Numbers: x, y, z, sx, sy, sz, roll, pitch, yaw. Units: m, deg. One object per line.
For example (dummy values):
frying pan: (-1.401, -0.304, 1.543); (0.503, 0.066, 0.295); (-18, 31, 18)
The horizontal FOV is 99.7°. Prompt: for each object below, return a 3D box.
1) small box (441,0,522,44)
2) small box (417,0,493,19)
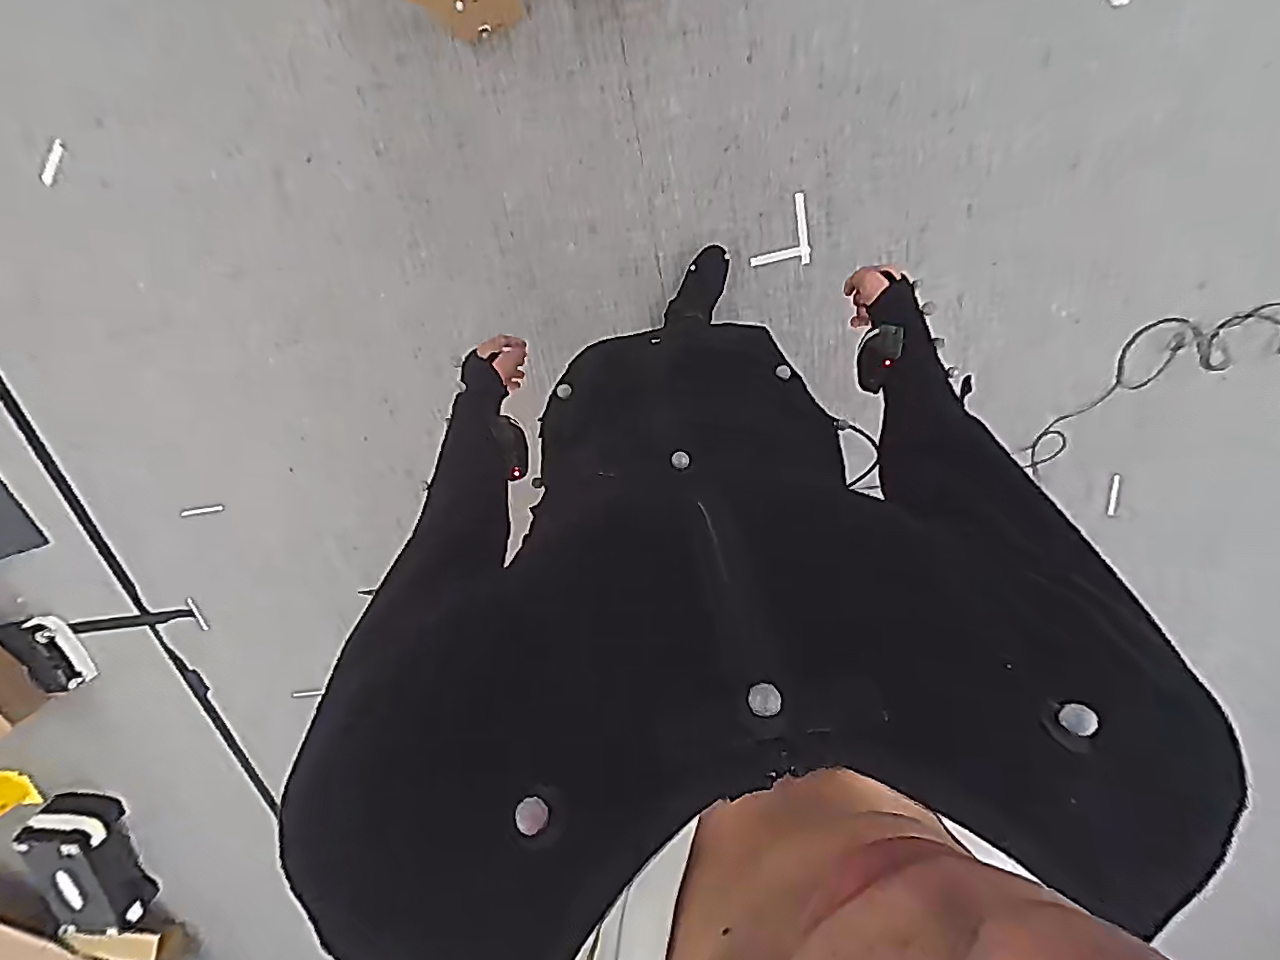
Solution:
small box: (-0.377, -1.105, 1.178); (0.168, 0.176, 0.179); (-14, 112, 8)
small box: (-0.389, -1.036, 1.030); (0.168, 0.176, 0.179); (-12, 112, 8)
